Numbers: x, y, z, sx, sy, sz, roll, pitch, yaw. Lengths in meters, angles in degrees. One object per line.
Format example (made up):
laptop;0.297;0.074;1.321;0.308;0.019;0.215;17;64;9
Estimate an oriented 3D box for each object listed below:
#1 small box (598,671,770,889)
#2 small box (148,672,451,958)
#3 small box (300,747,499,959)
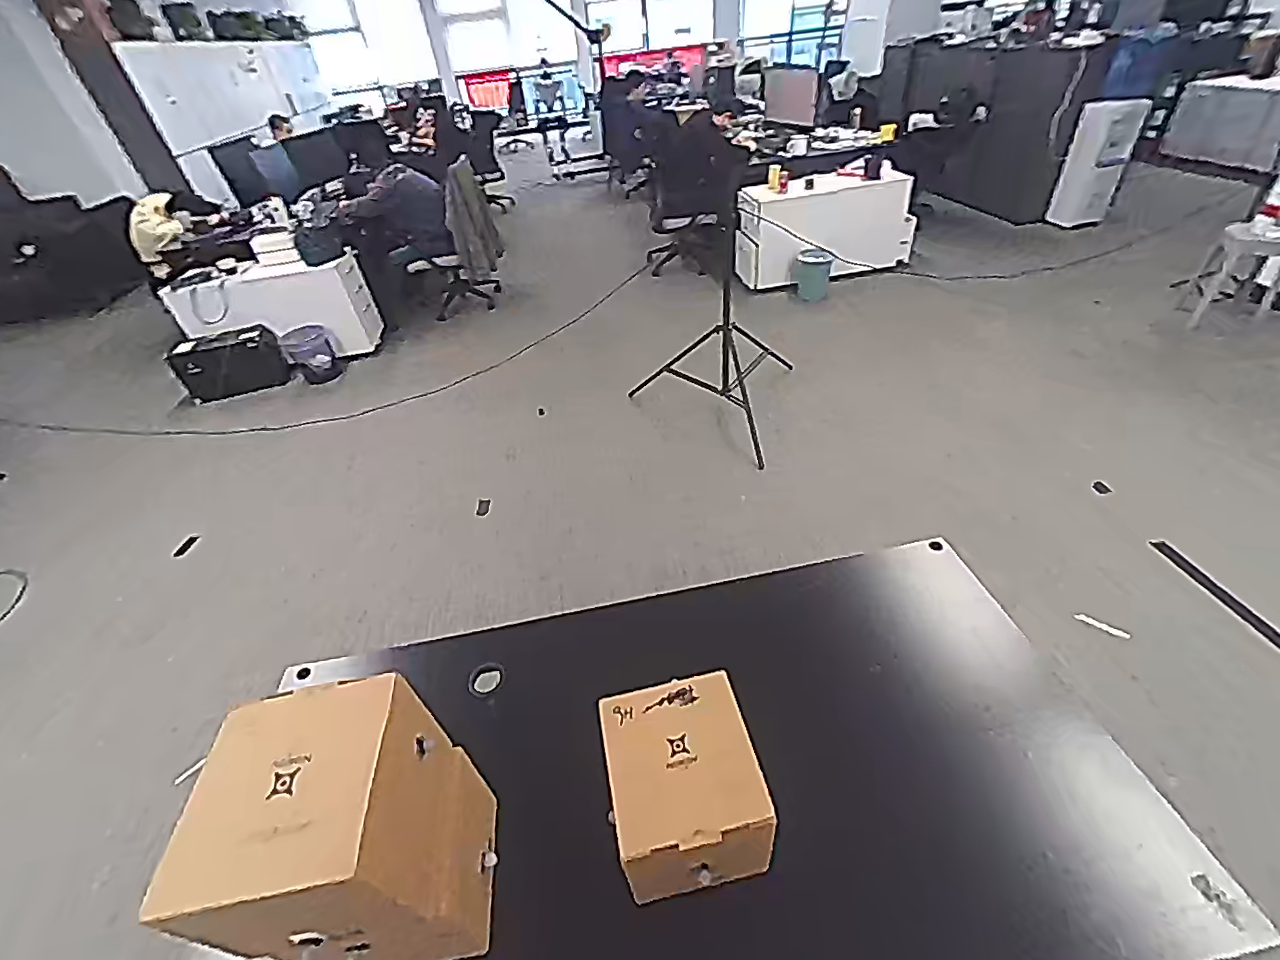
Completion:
small box;0.051;0.372;0.665;0.168;0.176;0.179;-12;40;-5
small box;-0.295;0.321;0.524;0.168;0.176;0.179;-12;41;-3
small box;-0.277;0.444;0.629;0.179;0.176;0.168;-9;40;-3
